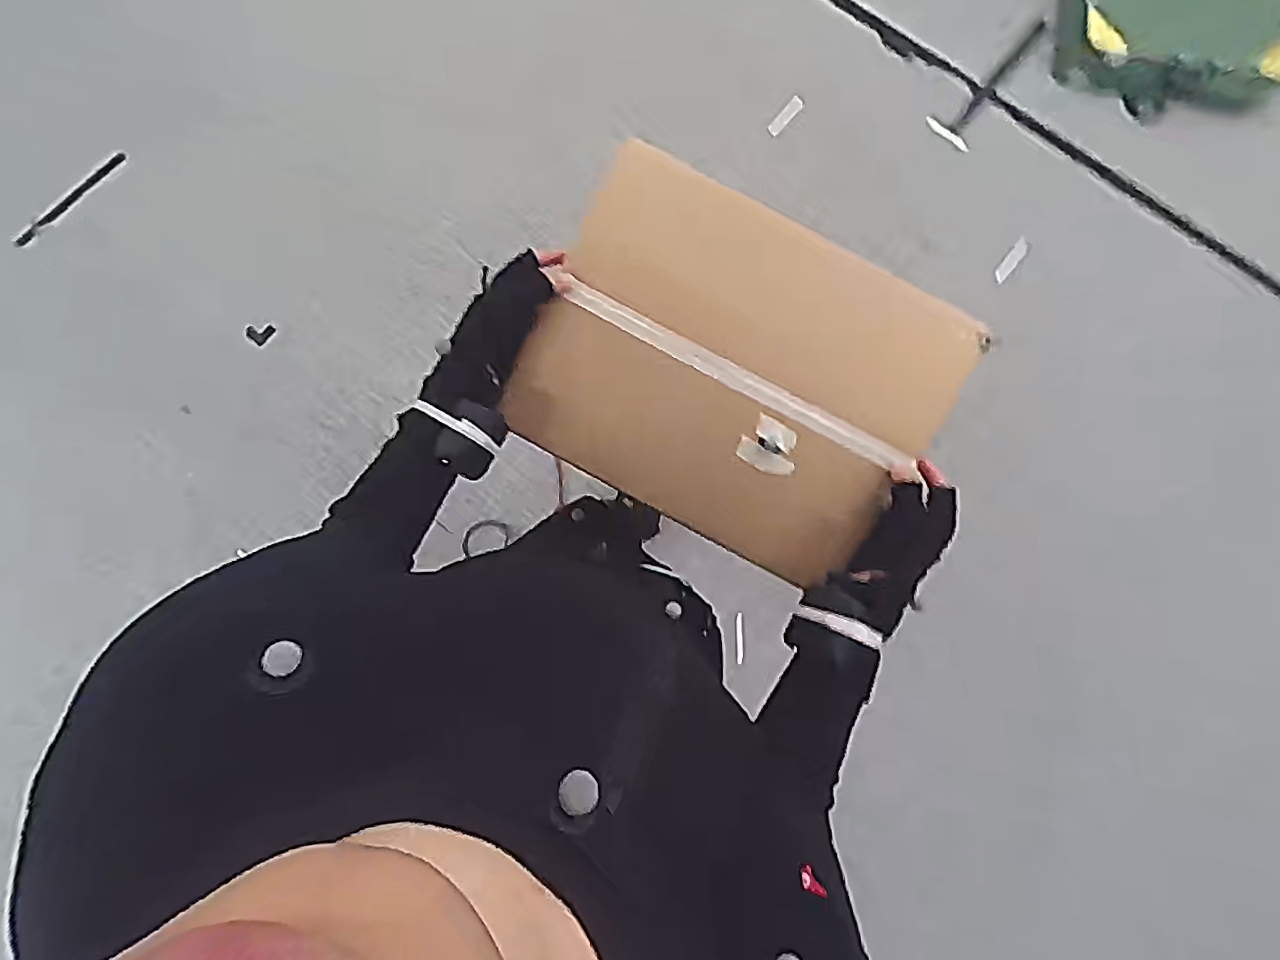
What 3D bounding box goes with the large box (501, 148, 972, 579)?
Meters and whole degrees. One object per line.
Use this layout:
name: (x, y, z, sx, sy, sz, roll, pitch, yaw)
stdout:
large box: (0.099, -0.128, 0.708, 0.408, 0.320, 0.320, 28, 96, 0)
